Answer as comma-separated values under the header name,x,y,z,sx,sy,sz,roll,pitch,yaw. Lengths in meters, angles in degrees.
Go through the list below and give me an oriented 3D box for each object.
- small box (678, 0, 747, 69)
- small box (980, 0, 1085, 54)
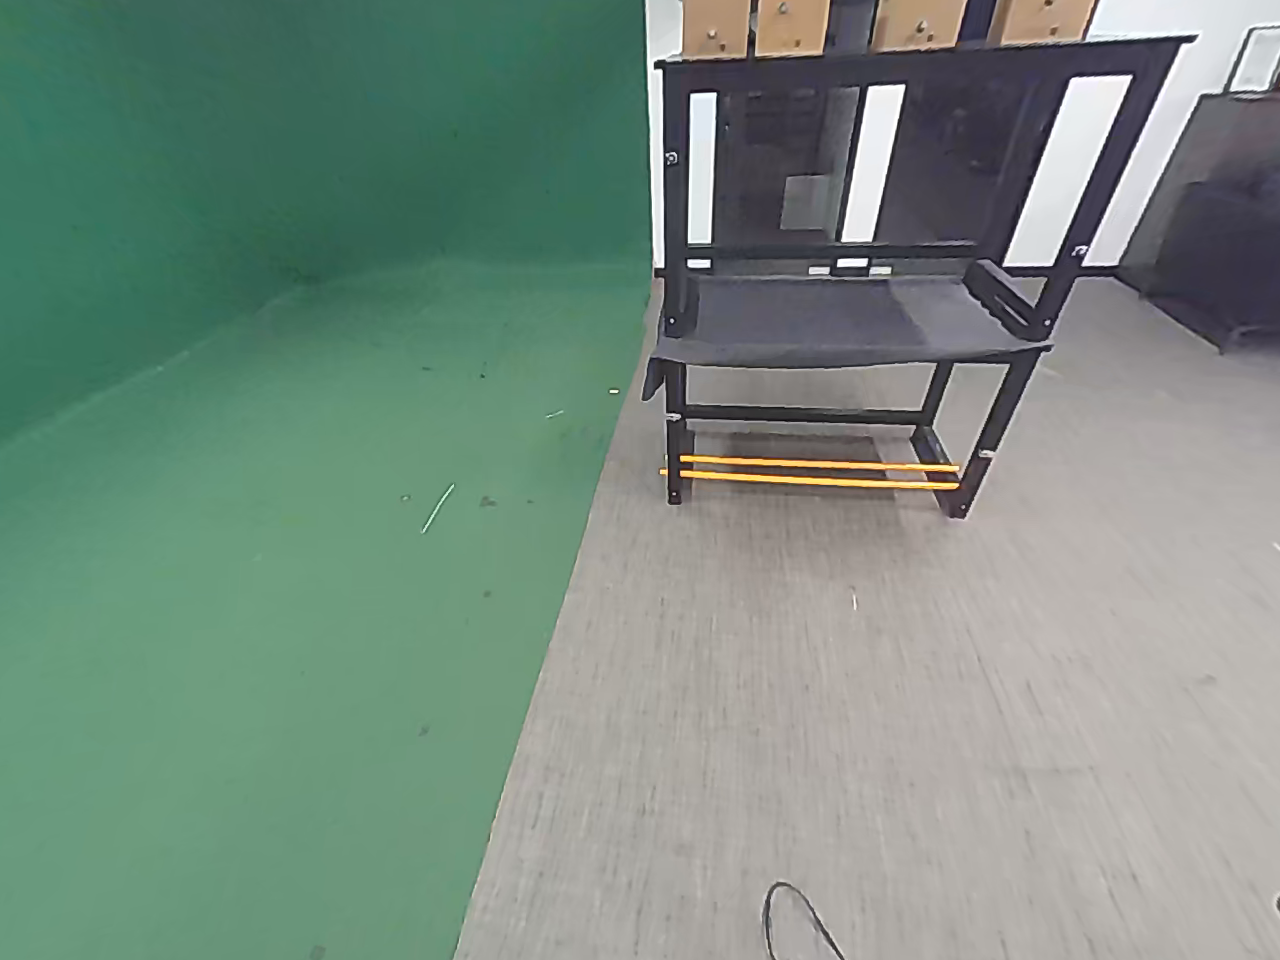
name,x,y,z,sx,sy,sz,roll,pitch,yaw
small box,0.186,-1.177,1.402,0.168,0.176,0.179,2,40,5
small box,0.940,-1.128,1.286,0.168,0.176,0.179,8,40,14
